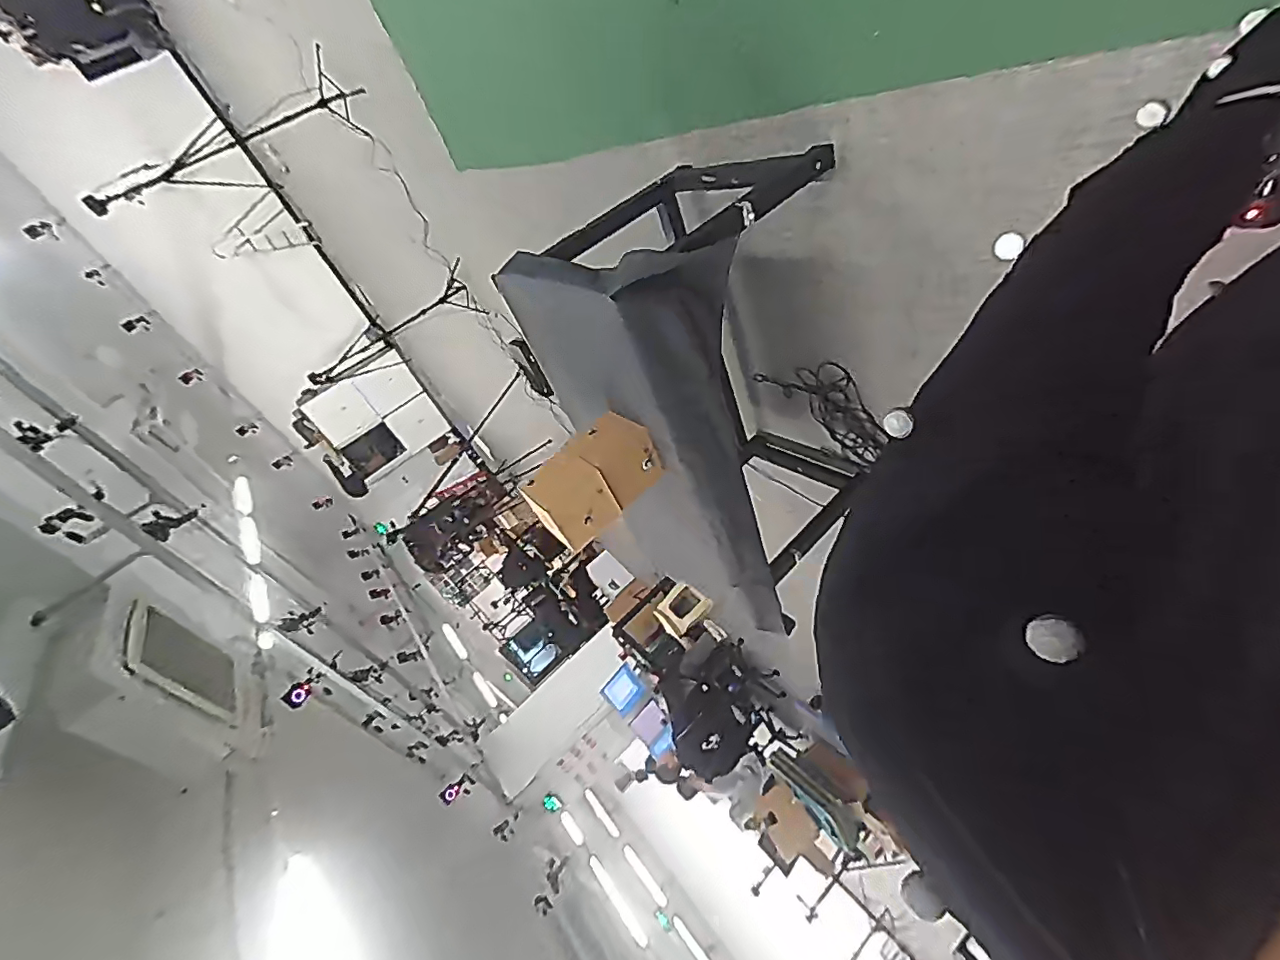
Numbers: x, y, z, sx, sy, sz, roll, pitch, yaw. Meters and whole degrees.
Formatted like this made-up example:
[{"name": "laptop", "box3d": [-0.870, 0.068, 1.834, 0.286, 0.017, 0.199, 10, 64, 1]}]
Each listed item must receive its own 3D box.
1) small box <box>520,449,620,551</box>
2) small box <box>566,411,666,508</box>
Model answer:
[{"name": "small box", "box3d": [-0.172, 0.044, 1.394, 0.179, 0.176, 0.168, 32, 156, 48]}, {"name": "small box", "box3d": [-0.060, -0.063, 1.444, 0.179, 0.176, 0.168, 30, 155, 46]}]
